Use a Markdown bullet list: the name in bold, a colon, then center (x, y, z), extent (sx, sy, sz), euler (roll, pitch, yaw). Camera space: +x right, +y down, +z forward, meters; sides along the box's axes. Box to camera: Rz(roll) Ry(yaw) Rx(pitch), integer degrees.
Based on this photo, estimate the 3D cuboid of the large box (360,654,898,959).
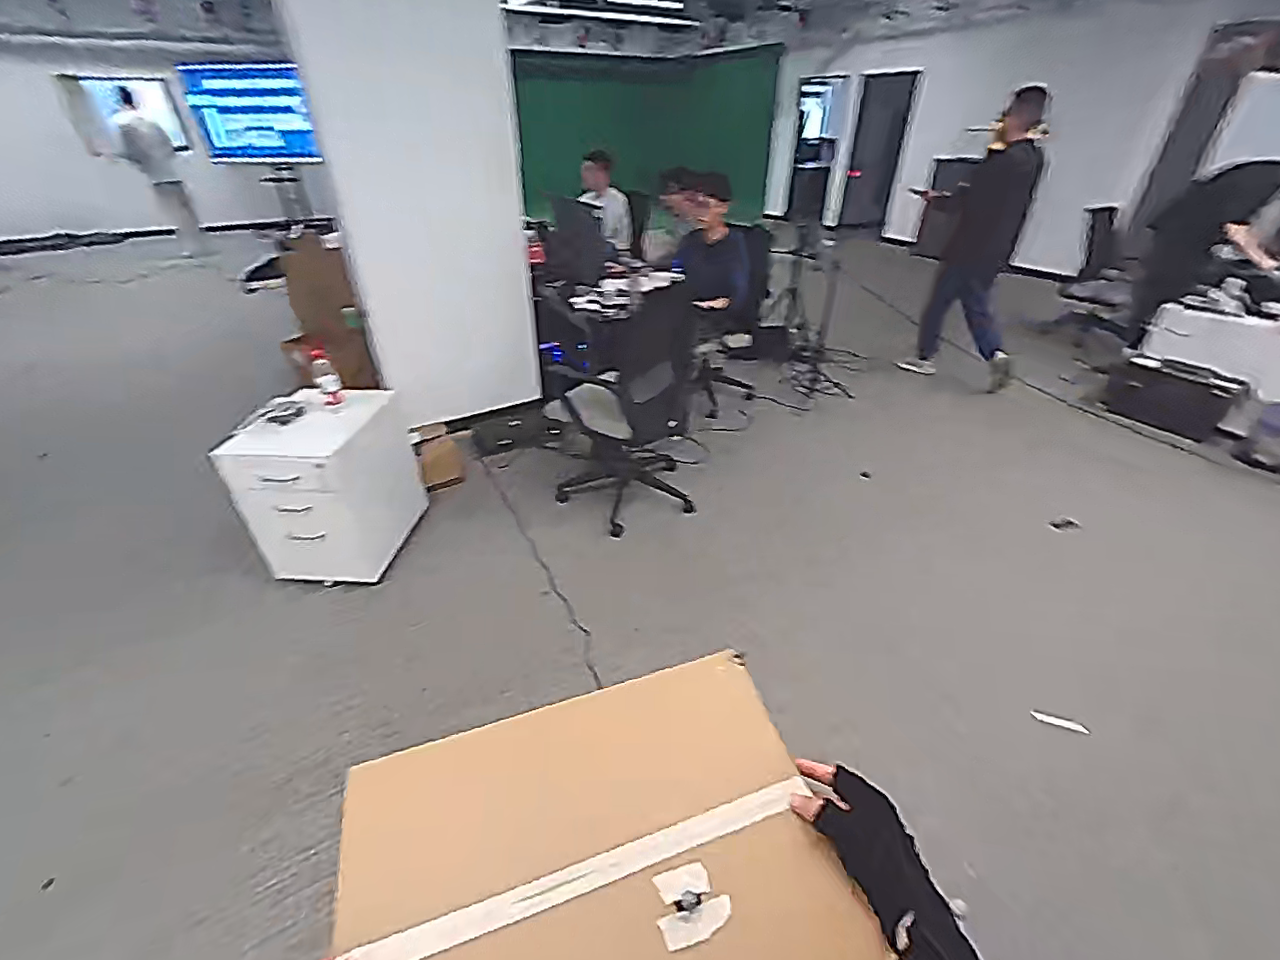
- **large box**: center (-0.032, 0.447, 0.560), extent (0.408, 0.320, 0.320), euler (-12, 42, -14)
